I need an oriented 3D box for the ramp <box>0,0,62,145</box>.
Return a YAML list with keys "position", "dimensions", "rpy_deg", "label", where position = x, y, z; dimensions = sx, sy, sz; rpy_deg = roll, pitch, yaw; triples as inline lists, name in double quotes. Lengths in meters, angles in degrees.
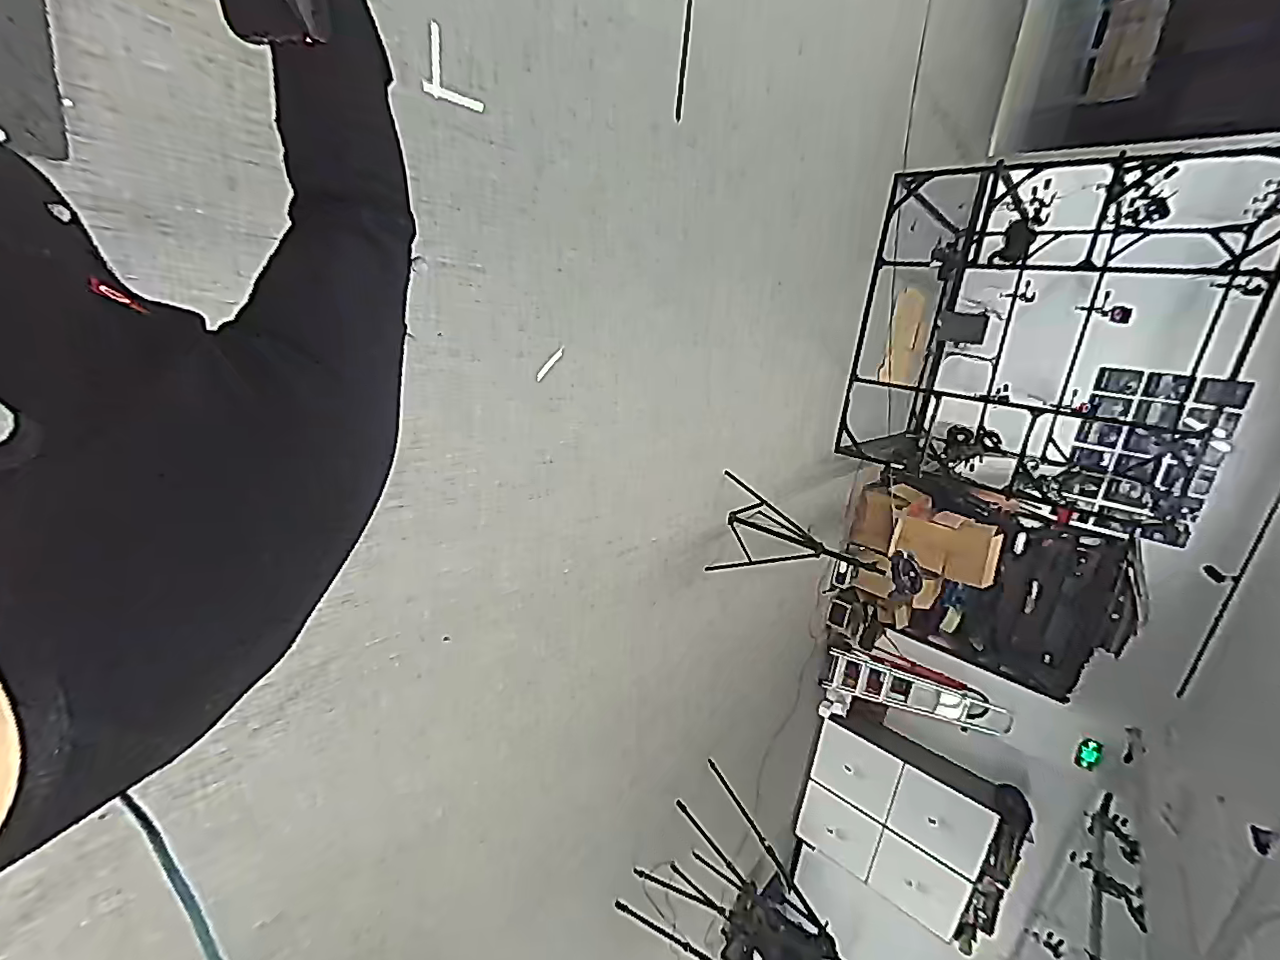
- position: [-1.057, -0.991, 0.583]
  dimensions: [0.509, 0.206, 0.991]
  rpy_deg: [-16, 119, -49]
  label: "ramp"
